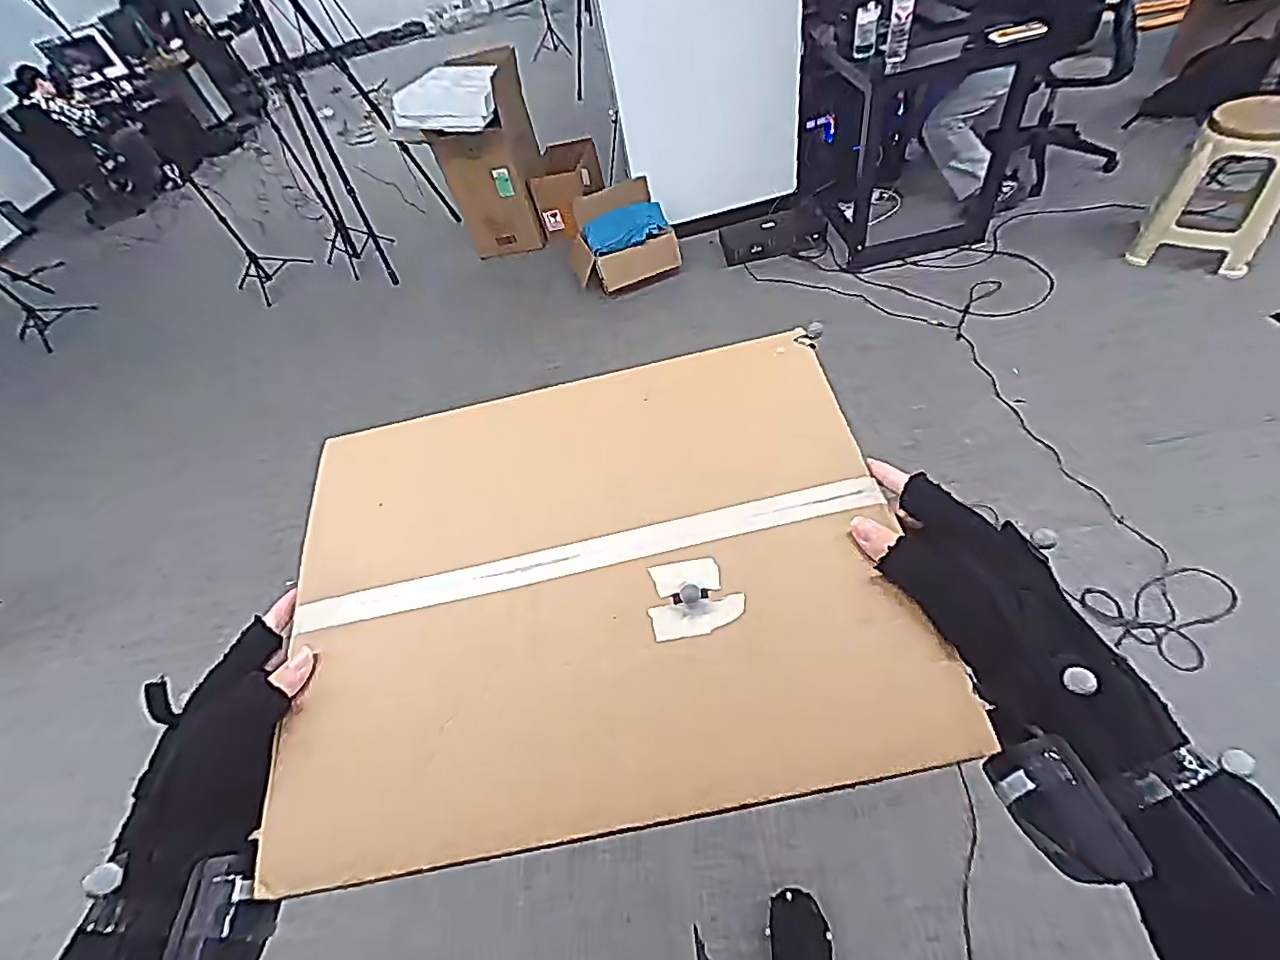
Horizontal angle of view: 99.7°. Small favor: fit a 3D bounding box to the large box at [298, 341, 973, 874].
[{"bbox_3d":[-0.012,0.129,0.508,0.408,0.320,0.320,-13,59,2],"label":"large box"}]
